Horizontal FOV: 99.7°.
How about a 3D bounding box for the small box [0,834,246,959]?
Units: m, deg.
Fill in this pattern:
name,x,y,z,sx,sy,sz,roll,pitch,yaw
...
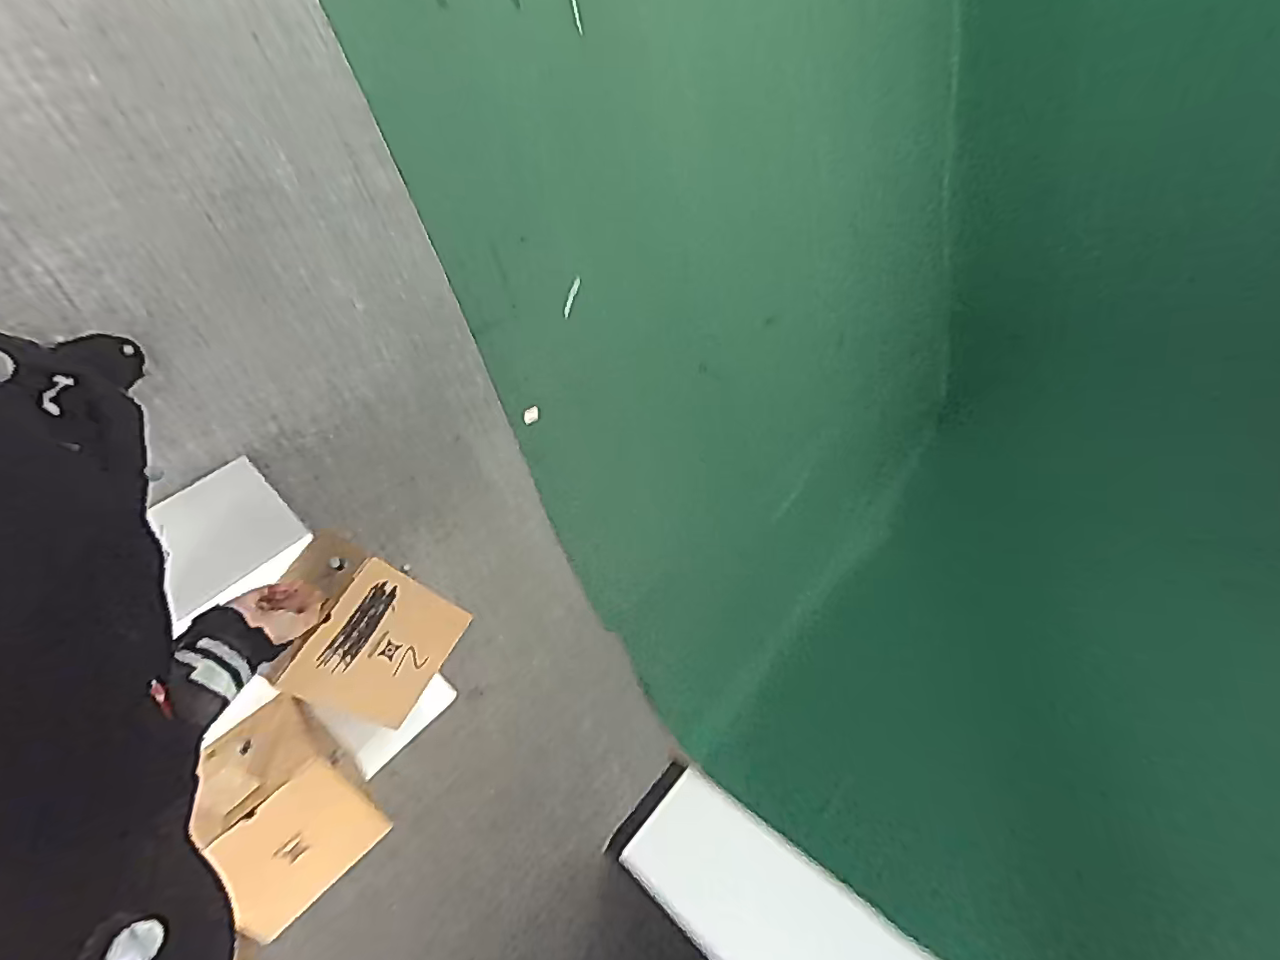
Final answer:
name,x,y,z,sx,sy,sz,roll,pitch,yaw
small box,-0.599,0.551,0.614,0.168,0.176,0.179,-41,128,-27
